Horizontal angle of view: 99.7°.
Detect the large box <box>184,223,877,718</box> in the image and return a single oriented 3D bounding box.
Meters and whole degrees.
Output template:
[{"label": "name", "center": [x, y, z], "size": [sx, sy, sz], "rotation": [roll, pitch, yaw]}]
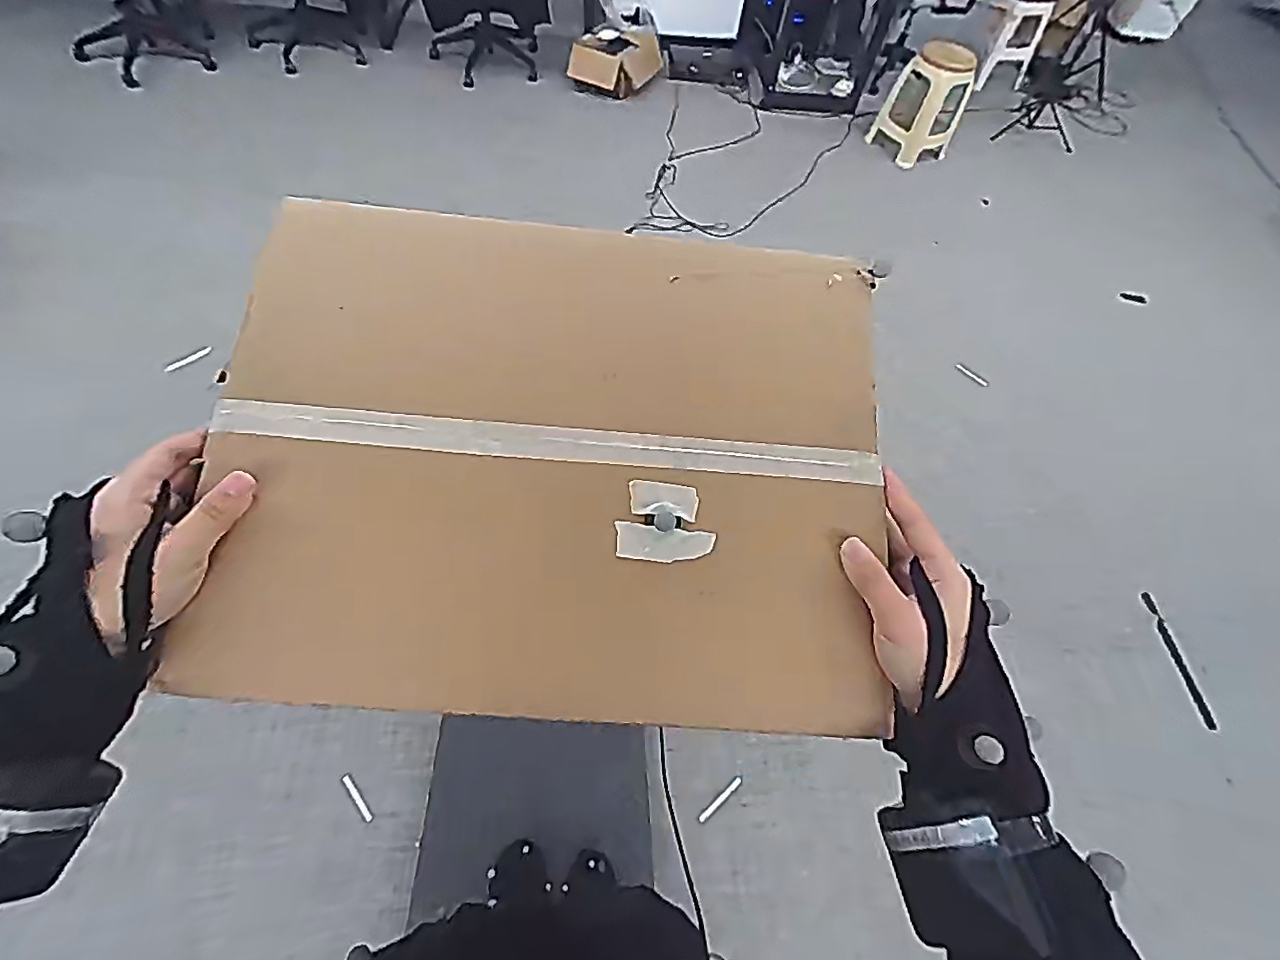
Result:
[{"label": "large box", "center": [-0.060, 0.019, 0.490], "size": [0.408, 0.320, 0.320], "rotation": [5, 76, -3]}]
